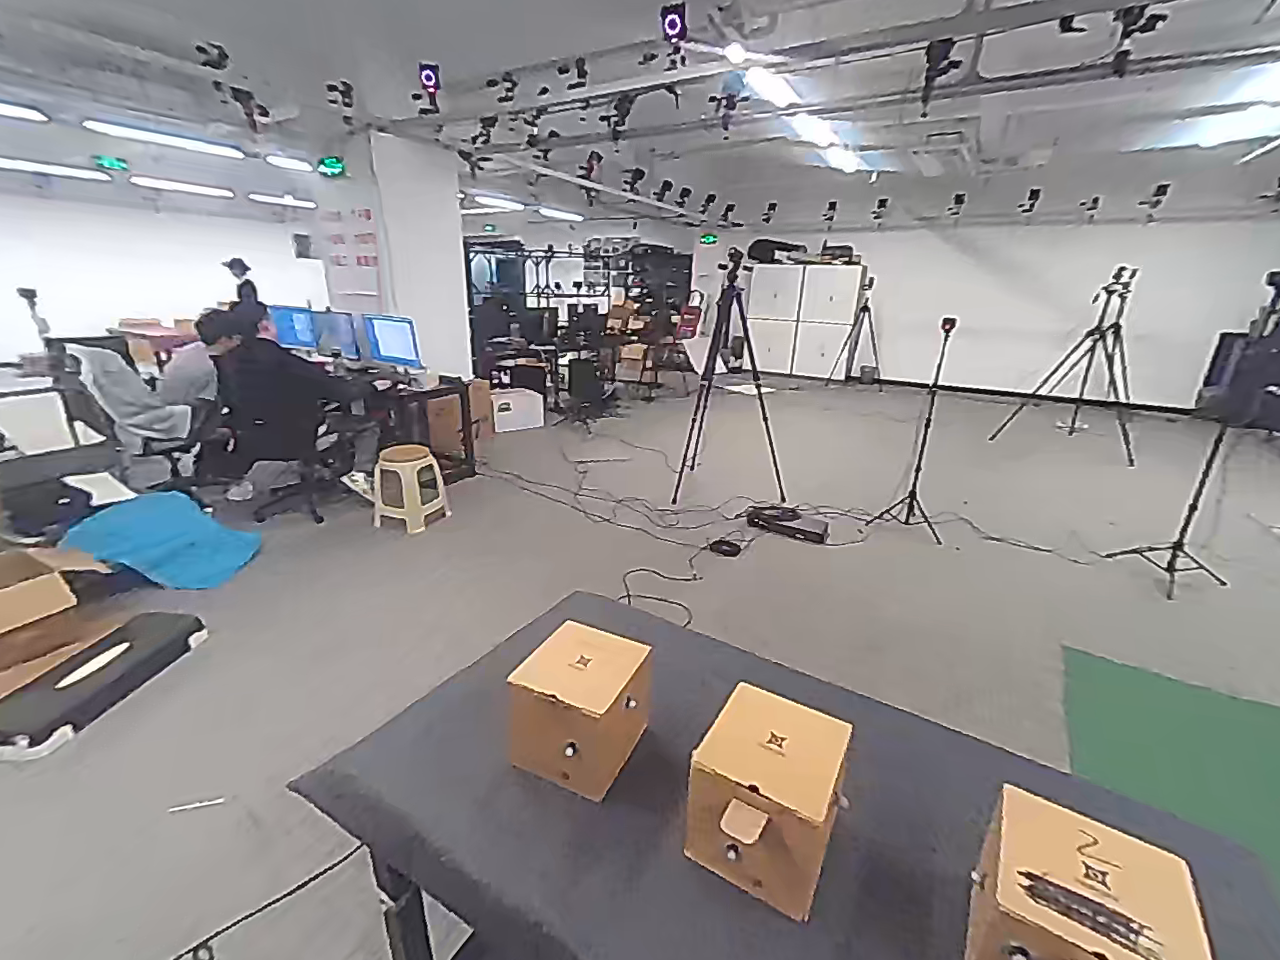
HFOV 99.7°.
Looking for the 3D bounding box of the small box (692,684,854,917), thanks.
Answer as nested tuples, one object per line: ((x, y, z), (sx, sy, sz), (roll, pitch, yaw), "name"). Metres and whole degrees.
((0.177, 0.422, 0.735), (0.168, 0.176, 0.179), (13, 23, 28), "small box")

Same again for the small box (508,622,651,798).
((-0.092, 0.365, 0.874), (0.168, 0.176, 0.179), (12, 21, 22), "small box")
